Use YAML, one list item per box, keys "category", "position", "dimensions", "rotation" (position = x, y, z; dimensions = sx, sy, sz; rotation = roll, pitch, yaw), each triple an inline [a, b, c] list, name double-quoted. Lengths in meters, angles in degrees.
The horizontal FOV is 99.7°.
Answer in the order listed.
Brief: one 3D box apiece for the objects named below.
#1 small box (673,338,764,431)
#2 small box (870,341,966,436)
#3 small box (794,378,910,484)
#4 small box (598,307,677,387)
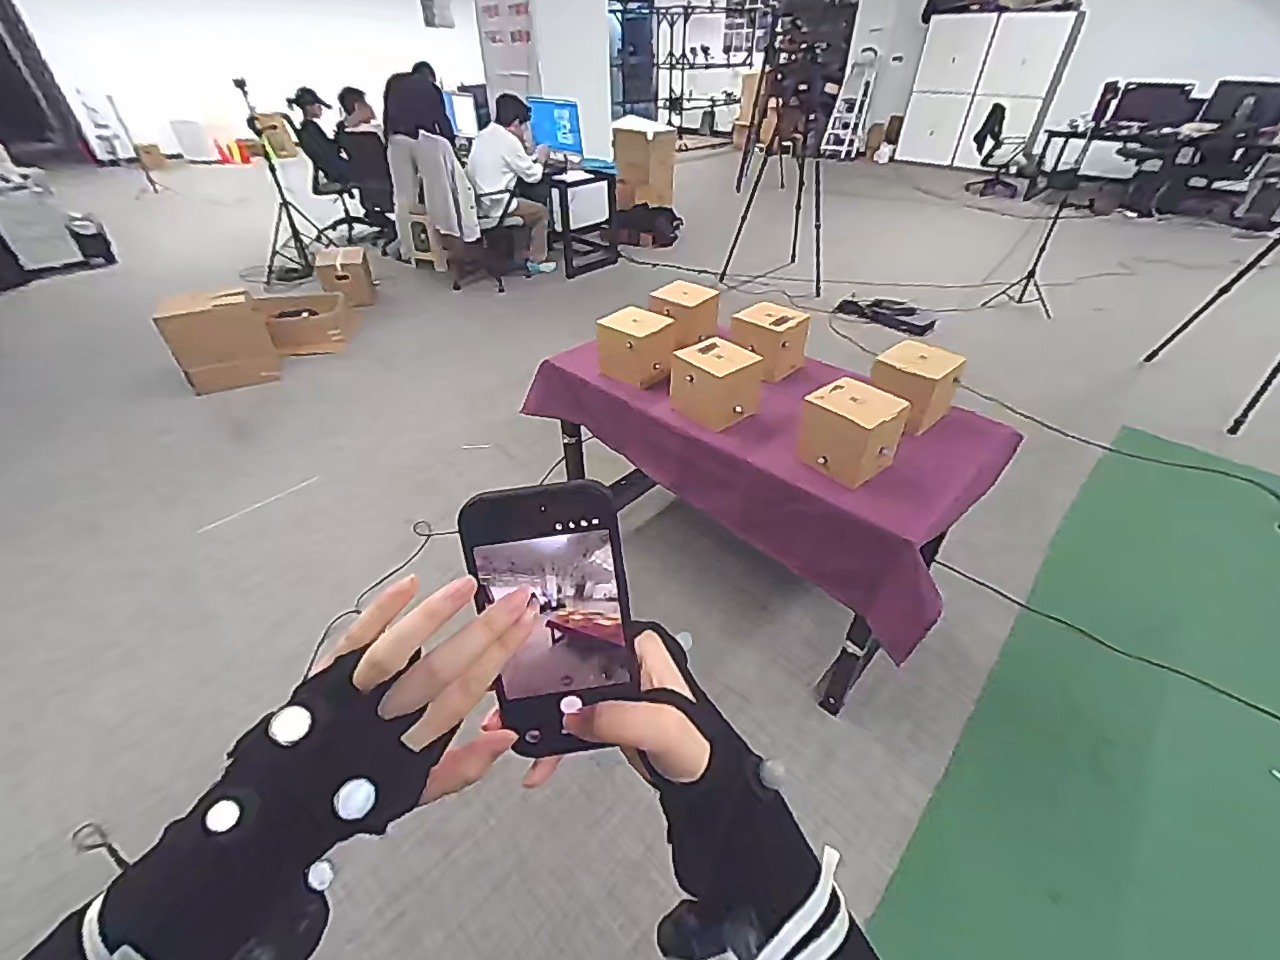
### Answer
- category: "small box"
  position: [0.204, -0.258, 1.456]
  dimensions: [0.168, 0.176, 0.179]
  rotation: [-27, 47, -30]
- category: "small box"
  position: [0.722, -0.243, 1.440]
  dimensions: [0.179, 0.176, 0.168]
  rotation: [-30, 47, -31]
- category: "small box"
  position: [0.491, -0.111, 1.274]
  dimensions: [0.168, 0.176, 0.179]
  rotation: [-26, 46, -30]
- category: "small box"
  position: [-0.010, -0.401, 1.635]
  dimensions: [0.179, 0.176, 0.168]
  rotation: [28, 46, 28]
